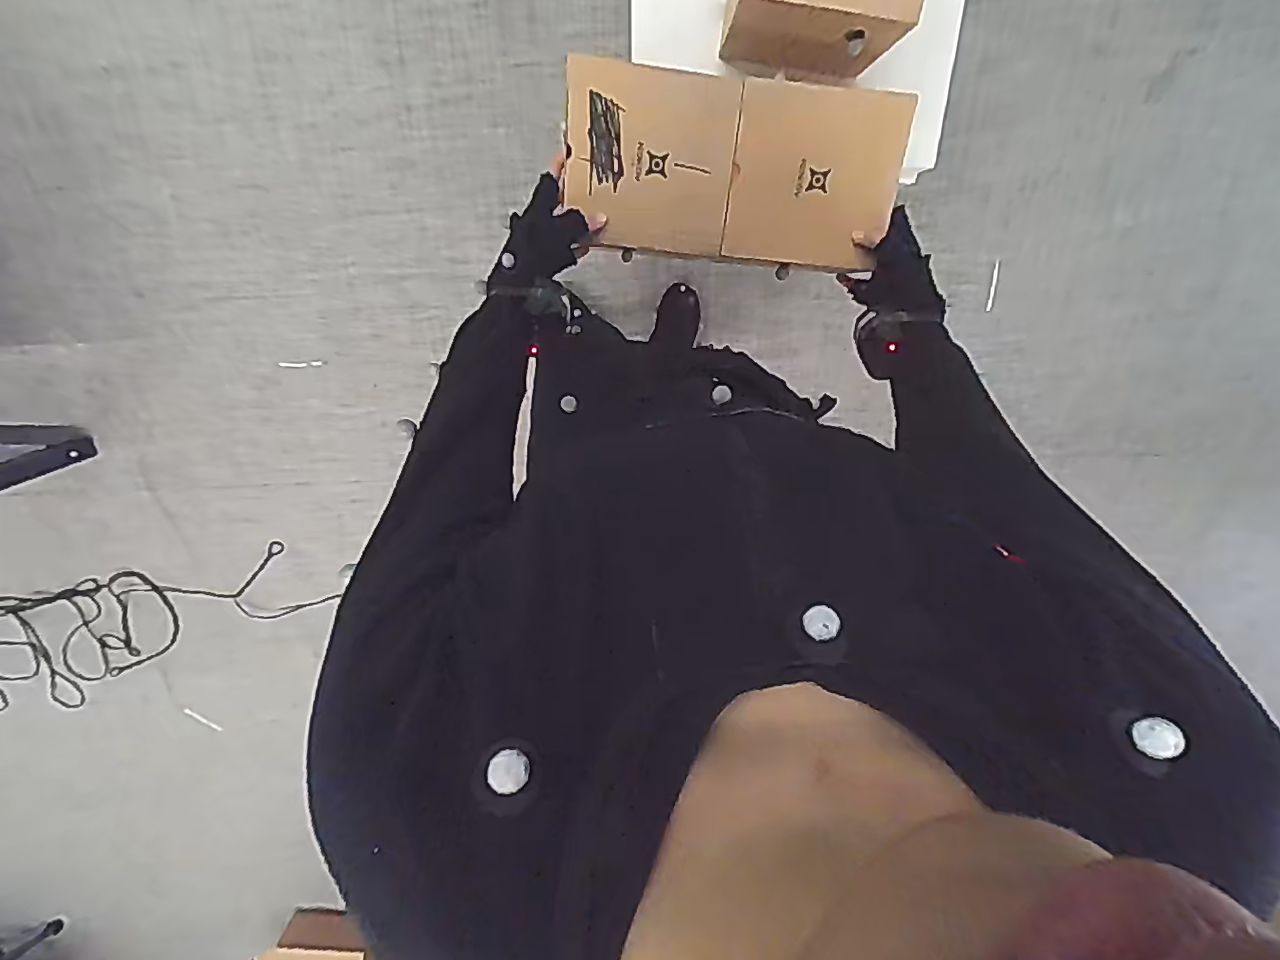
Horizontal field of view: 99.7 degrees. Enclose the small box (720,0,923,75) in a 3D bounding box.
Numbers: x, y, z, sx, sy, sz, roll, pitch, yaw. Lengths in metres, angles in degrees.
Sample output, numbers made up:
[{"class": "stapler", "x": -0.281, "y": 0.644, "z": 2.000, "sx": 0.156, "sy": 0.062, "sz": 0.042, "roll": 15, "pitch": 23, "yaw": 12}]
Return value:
[{"class": "small box", "x": 0.191, "y": -0.548, "z": 0.557, "sx": 0.179, "sy": 0.176, "sz": 0.168, "roll": 8, "pitch": 111, "yaw": -2}]
